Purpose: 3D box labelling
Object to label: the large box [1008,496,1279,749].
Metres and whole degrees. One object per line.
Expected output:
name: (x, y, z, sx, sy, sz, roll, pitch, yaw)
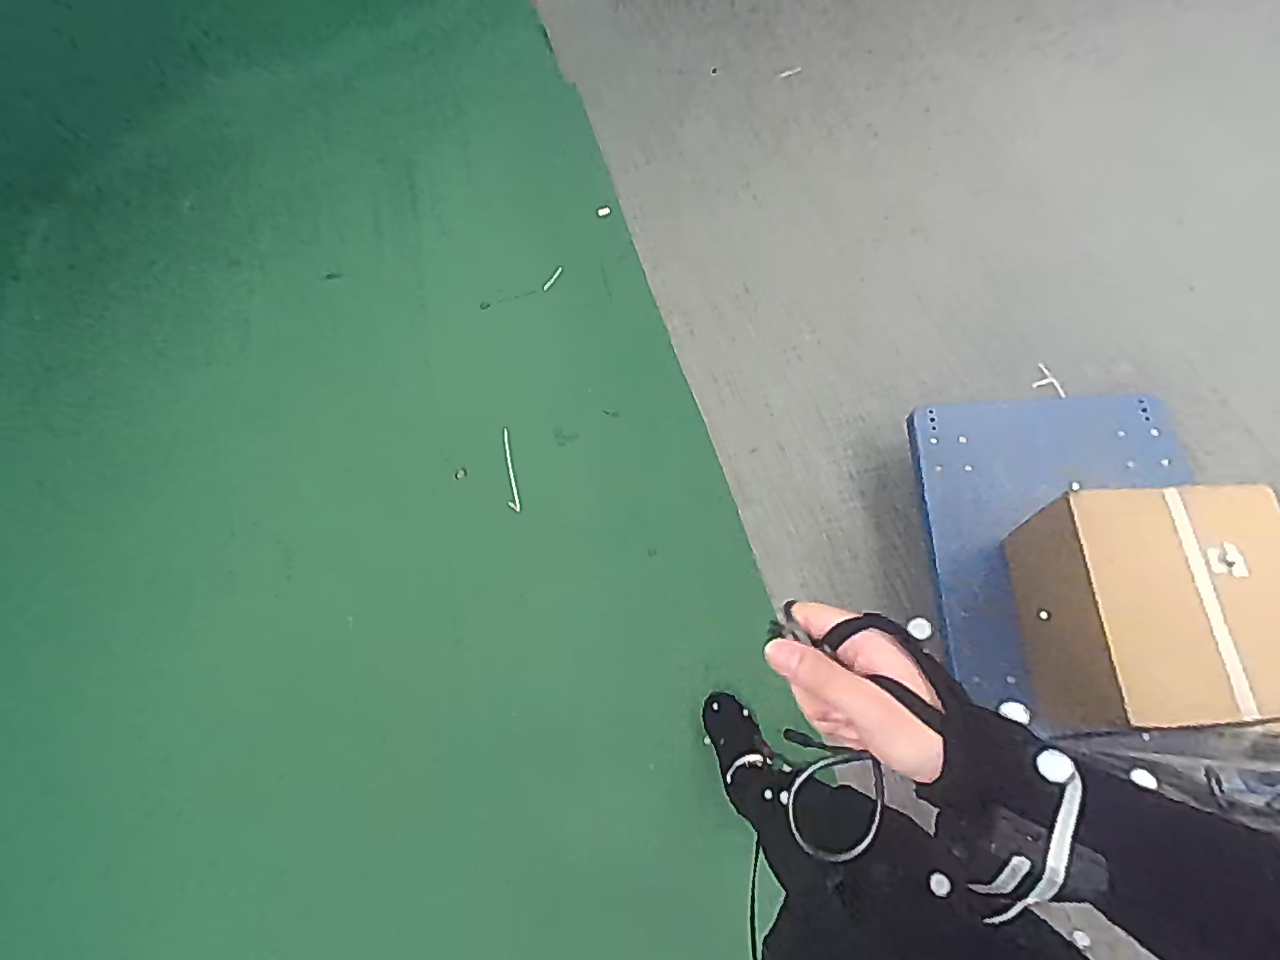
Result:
large box: (0.959, 0.276, 1.016, 0.320, 0.320, 0.408, -1, 65, 12)
